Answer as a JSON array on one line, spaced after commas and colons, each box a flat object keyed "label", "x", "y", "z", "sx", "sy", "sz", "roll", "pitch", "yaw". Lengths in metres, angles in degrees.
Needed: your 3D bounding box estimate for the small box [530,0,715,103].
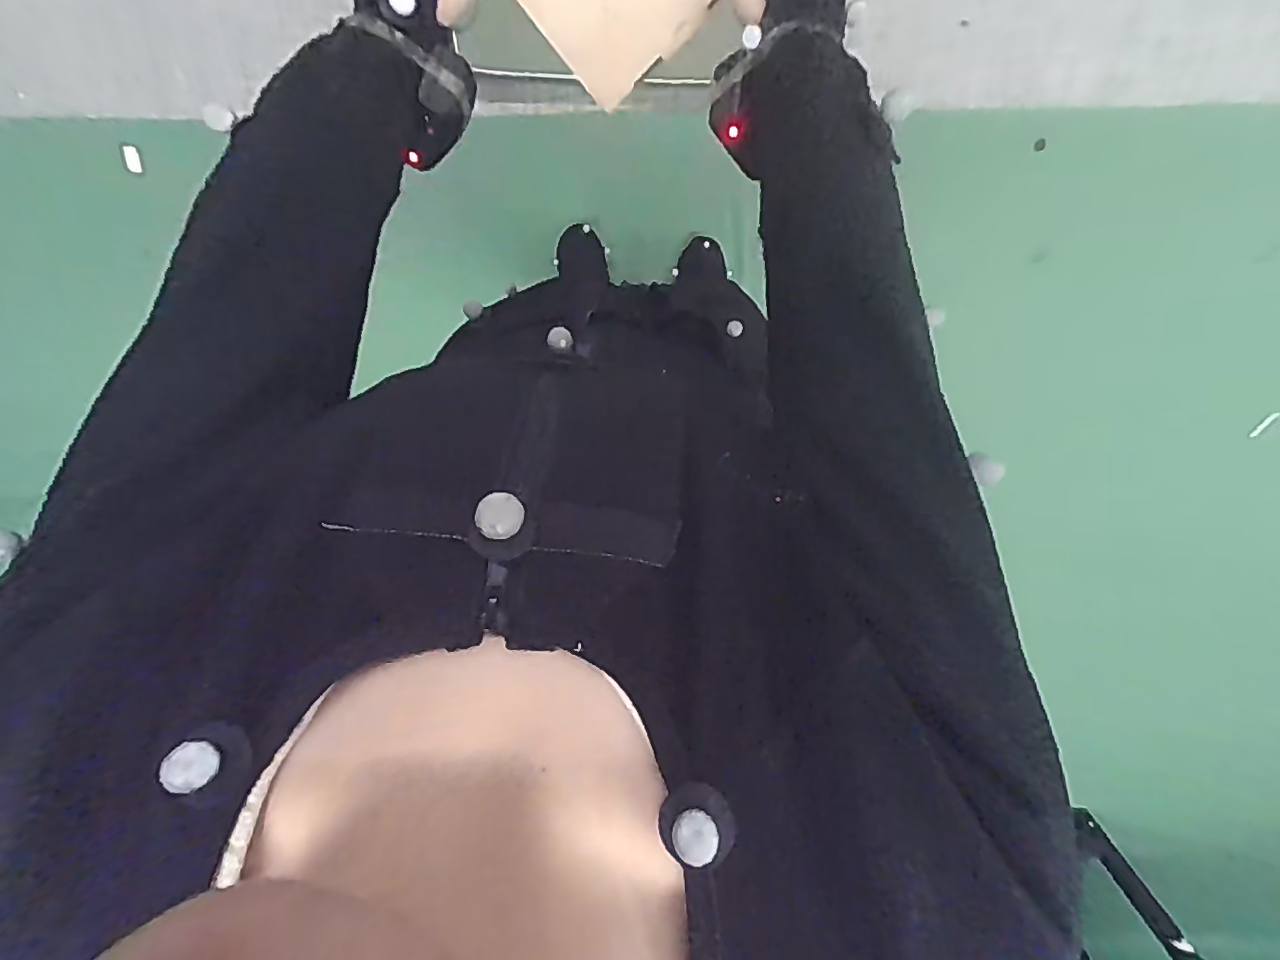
[{"label": "small box", "x": -0.016, "y": -0.448, "z": 0.418, "sx": 0.168, "sy": 0.176, "sz": 0.179, "roll": -30, "pitch": 127, "yaw": 29}]
